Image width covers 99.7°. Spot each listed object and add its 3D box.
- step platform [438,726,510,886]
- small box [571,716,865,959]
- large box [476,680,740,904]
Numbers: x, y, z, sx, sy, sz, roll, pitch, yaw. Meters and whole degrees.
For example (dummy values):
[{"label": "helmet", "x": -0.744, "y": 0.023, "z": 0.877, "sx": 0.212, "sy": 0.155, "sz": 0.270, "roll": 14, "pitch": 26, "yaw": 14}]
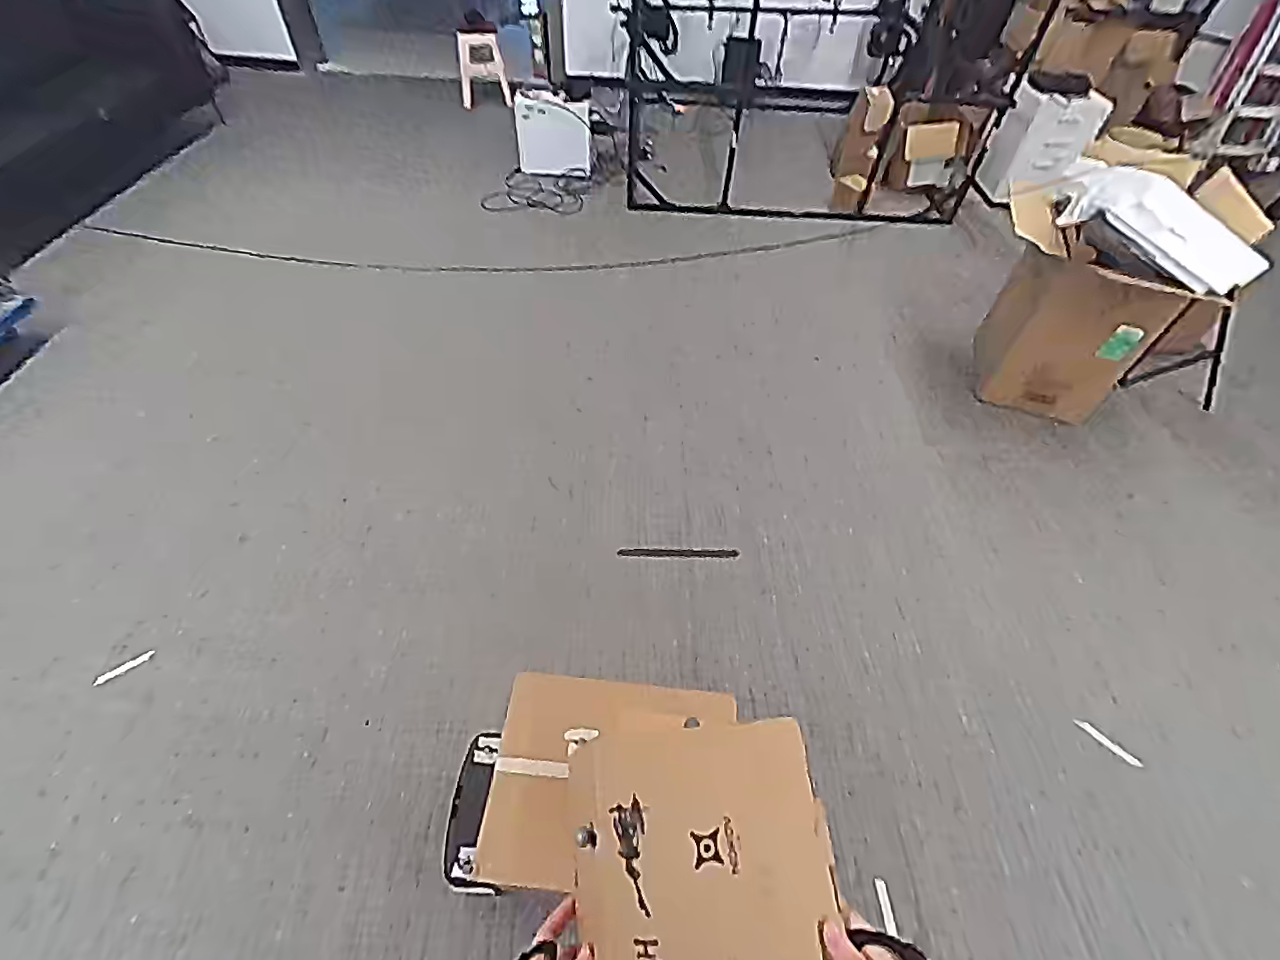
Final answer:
[{"label": "step platform", "x": -0.068, "y": 0.740, "z": 1.169, "sx": 0.684, "sy": 0.204, "sz": 0.286, "roll": 6, "pitch": 50, "yaw": 4}, {"label": "small box", "x": 0.043, "y": 0.302, "z": 0.449, "sx": 0.179, "sy": 0.176, "sz": 0.168, "roll": 1, "pitch": 58, "yaw": -15}, {"label": "large box", "x": -0.033, "y": 0.586, "z": 0.989, "sx": 0.408, "sy": 0.320, "sz": 0.320, "roll": 5, "pitch": 49, "yaw": 3}]
